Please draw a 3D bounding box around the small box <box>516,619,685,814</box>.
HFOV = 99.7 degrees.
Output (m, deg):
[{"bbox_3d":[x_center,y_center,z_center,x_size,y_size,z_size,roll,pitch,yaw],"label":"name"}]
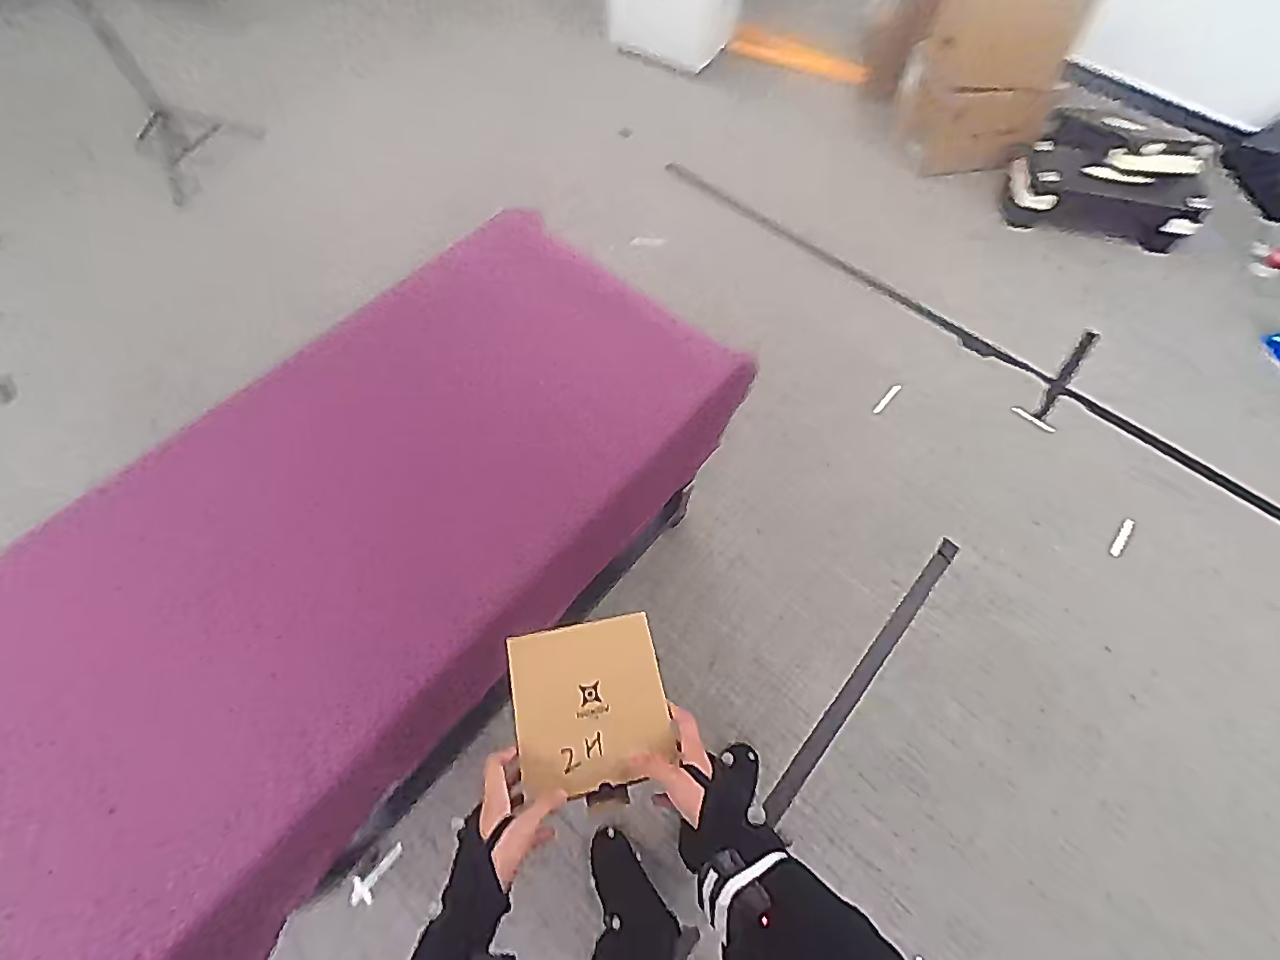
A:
[{"bbox_3d":[-0.054,0.290,0.660,0.168,0.176,0.179,-9,62,-9],"label":"small box"}]
